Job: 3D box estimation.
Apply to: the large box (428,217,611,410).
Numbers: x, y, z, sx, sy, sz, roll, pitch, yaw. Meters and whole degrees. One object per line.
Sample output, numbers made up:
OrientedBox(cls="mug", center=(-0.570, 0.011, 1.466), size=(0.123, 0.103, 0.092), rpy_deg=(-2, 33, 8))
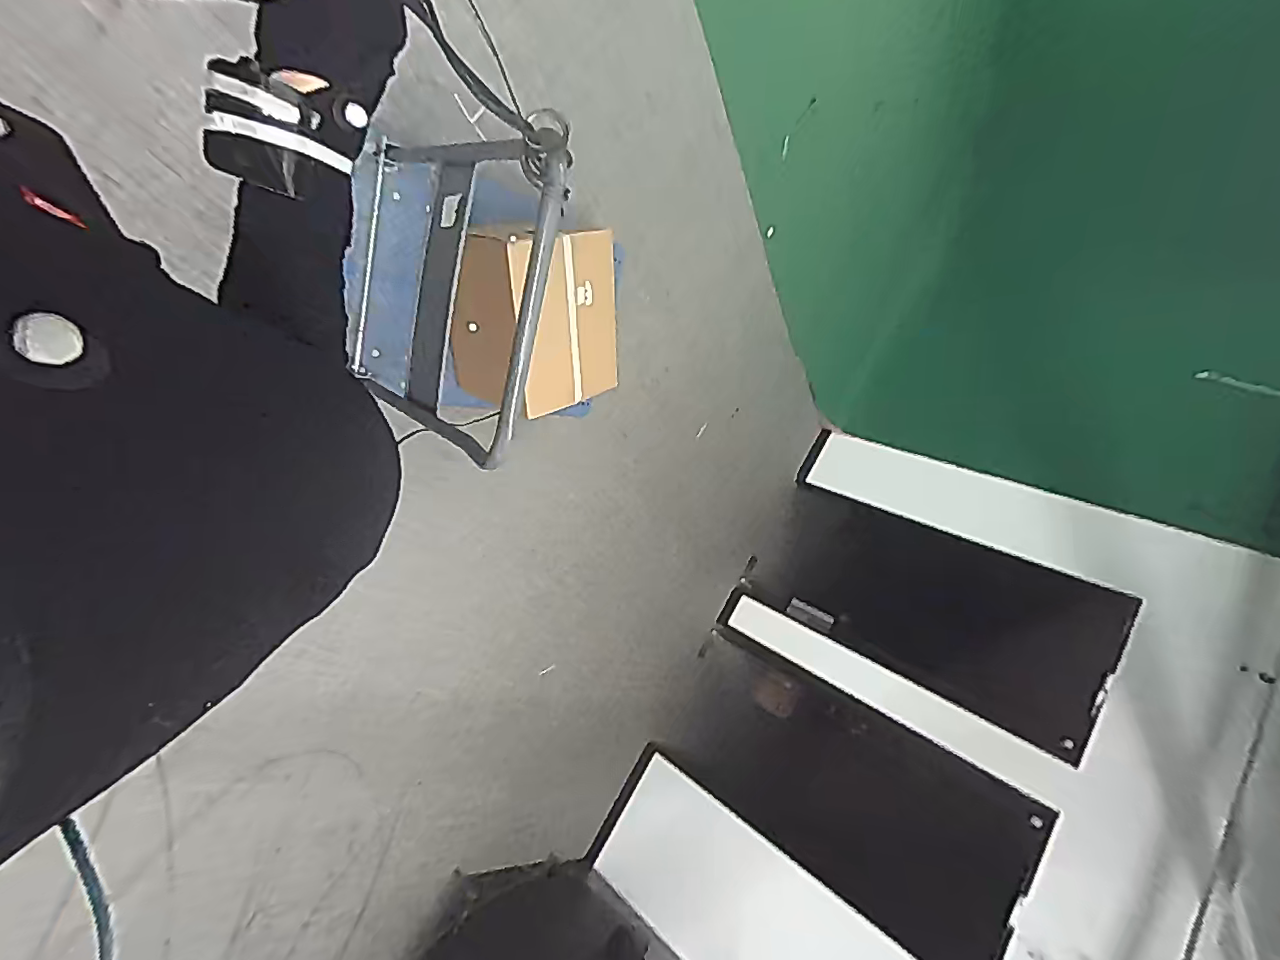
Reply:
OrientedBox(cls="large box", center=(-0.297, -0.444, 1.401), size=(0.320, 0.320, 0.408), rpy_deg=(-30, 131, -40))
